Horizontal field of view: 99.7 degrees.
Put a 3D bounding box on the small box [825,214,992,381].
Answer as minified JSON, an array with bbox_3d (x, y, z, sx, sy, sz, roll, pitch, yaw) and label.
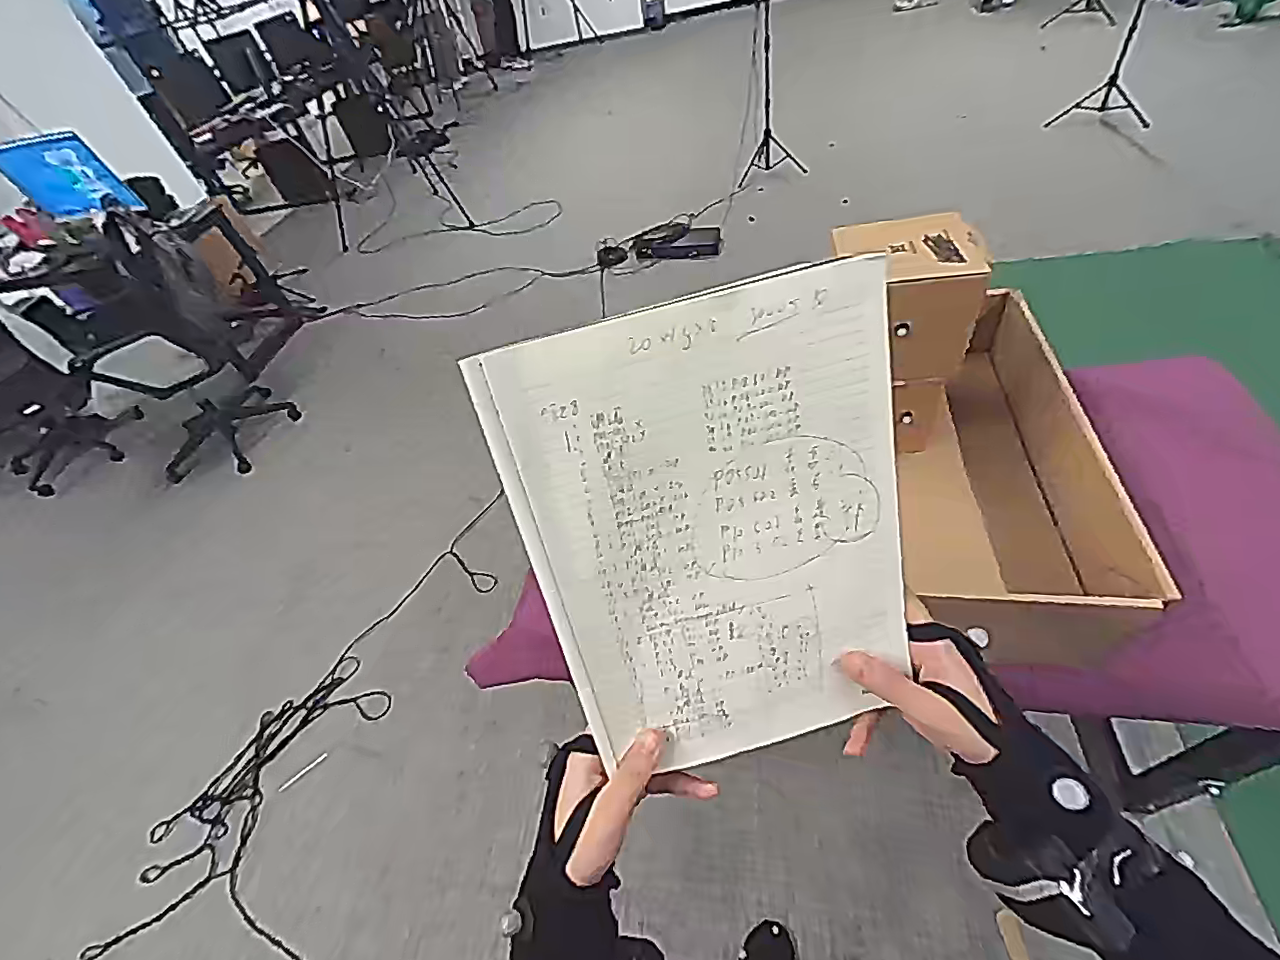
[{"bbox_3d":[0.380,-0.265,0.802,0.179,0.176,0.168,-2,49,12],"label":"small box"}]
